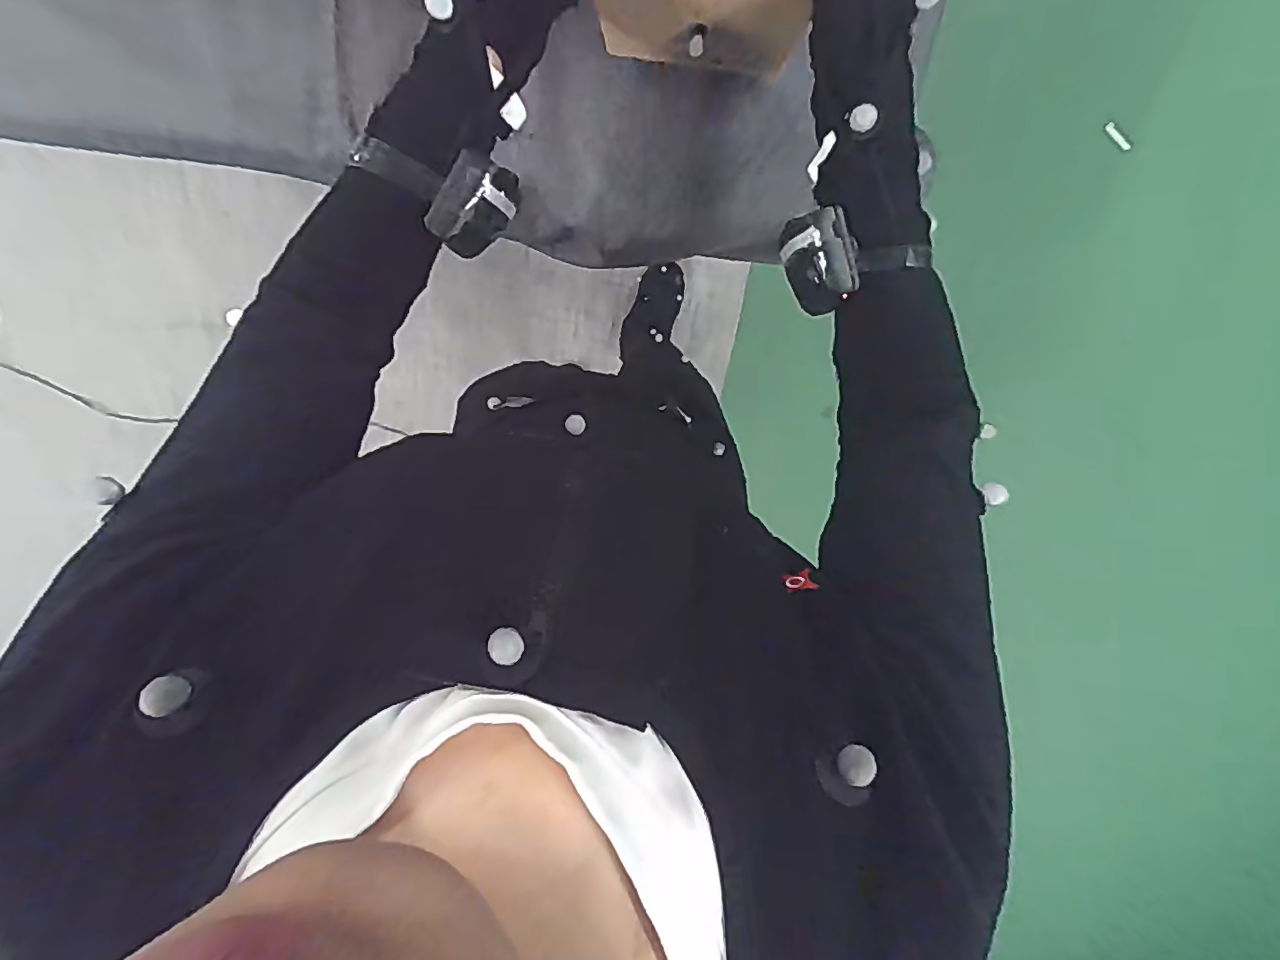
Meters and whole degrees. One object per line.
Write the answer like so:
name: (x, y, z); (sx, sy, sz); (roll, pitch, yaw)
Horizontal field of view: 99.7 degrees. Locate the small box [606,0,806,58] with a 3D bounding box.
small box: (0.059, -0.453, 0.404); (0.168, 0.176, 0.179); (8, 112, 0)
